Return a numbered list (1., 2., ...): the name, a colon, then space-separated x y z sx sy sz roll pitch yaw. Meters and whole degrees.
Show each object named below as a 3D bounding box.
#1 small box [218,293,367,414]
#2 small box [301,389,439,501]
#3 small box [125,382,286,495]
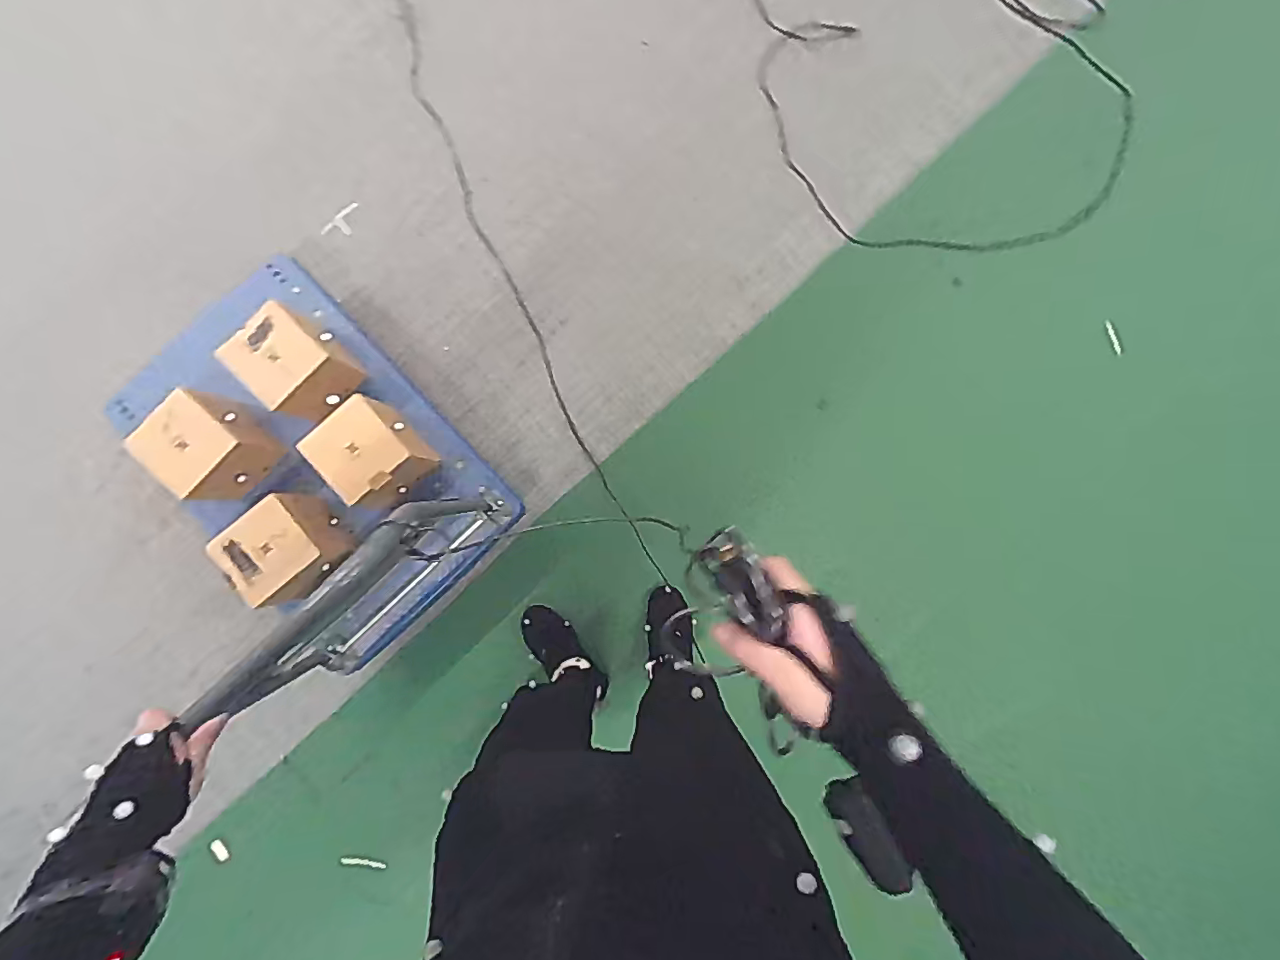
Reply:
1. small box: -0.749 -0.266 1.185 0.168 0.176 0.179 -45 89 -1
2. small box: -0.577 -0.067 1.179 0.168 0.176 0.179 -42 89 -1
3. small box: -0.931 -0.084 1.178 0.179 0.176 0.168 43 88 2
